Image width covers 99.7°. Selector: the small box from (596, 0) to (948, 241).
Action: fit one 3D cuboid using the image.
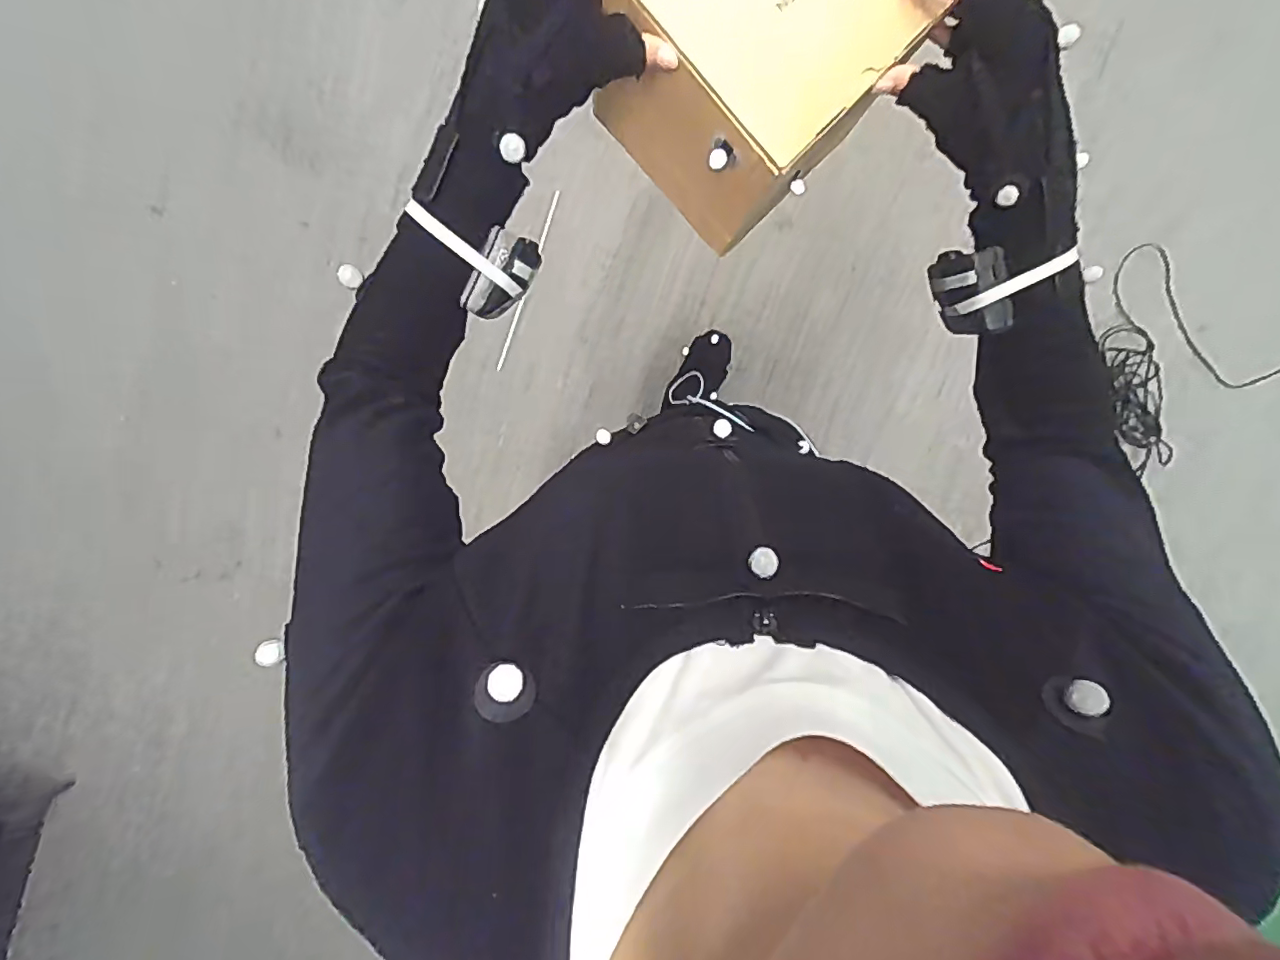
[{"bbox_3d":[0.080,-0.327,0.423,0.168,0.176,0.179,-43,99,-2],"label":"small box"}]
